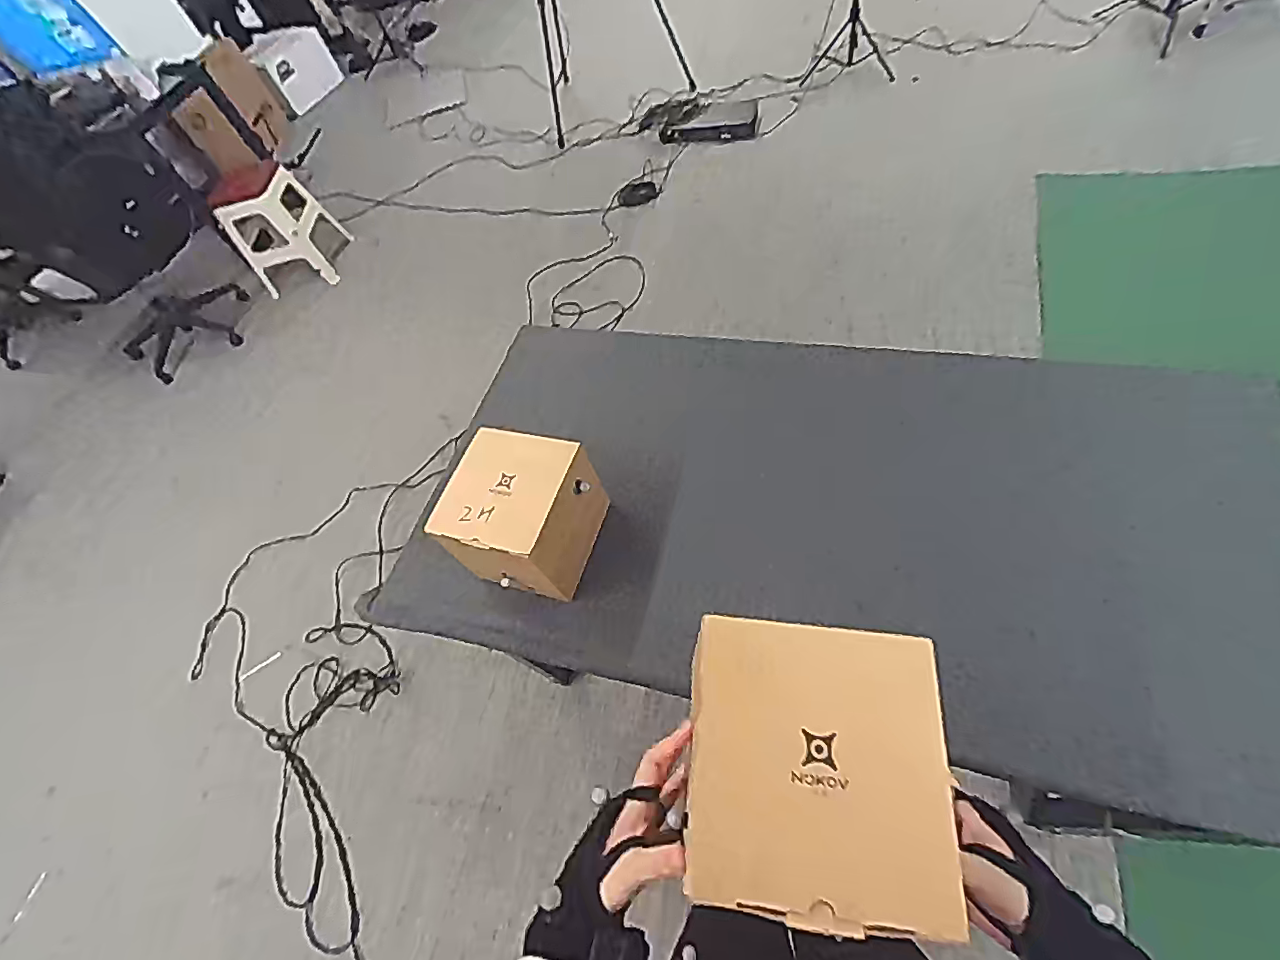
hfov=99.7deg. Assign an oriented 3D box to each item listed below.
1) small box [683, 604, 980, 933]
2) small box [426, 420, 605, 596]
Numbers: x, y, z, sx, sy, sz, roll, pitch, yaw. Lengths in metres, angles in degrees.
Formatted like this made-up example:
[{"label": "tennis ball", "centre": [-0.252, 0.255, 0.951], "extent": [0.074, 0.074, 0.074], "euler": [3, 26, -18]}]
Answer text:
[{"label": "small box", "centre": [0.123, 0.213, 0.422], "extent": [0.168, 0.176, 0.179], "euler": [5, 61, 4]}, {"label": "small box", "centre": [-0.162, 0.043, 0.779], "extent": [0.168, 0.176, 0.179], "euler": [11, 61, 19]}]
